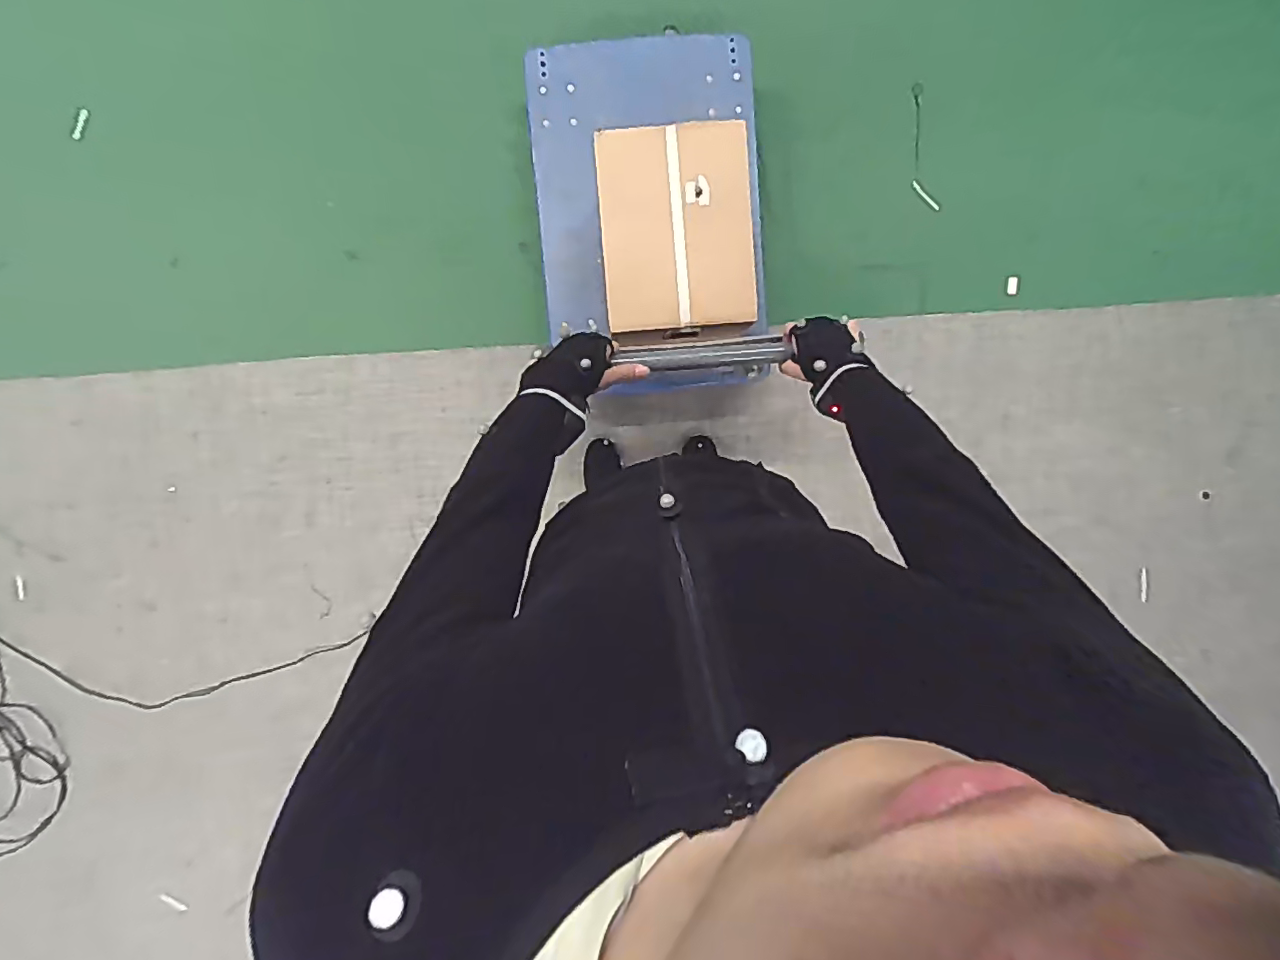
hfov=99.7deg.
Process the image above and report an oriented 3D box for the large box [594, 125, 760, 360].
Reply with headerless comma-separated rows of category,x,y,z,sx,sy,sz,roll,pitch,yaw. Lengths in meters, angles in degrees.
large box,0.075,-0.513,1.246,0.320,0.320,0.408,-5,94,-2
